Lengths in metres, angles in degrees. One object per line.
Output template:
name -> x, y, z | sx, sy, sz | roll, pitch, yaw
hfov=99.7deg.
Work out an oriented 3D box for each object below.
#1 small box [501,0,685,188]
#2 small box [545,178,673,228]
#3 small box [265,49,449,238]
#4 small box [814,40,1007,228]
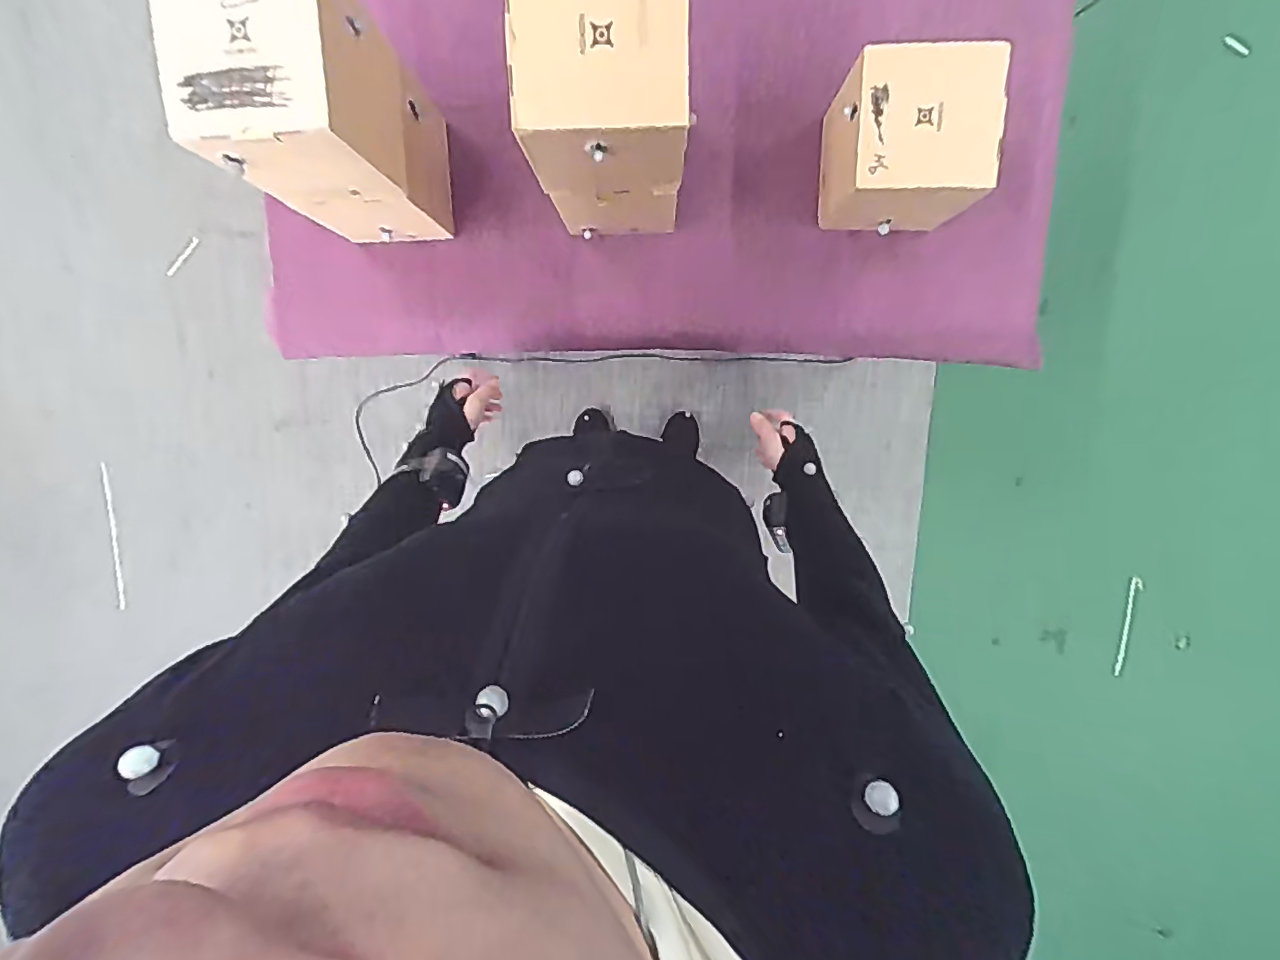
small box -> -0.041, -0.436, 0.591 | 0.179, 0.176, 0.168 | 0, 99, 1
small box -> -0.036, -0.463, 0.752 | 0.168, 0.176, 0.179 | 0, 98, 2
small box -> -0.383, -0.459, 0.762 | 0.168, 0.176, 0.179 | -1, 98, 2
small box -> 0.354, -0.457, 0.739 | 0.179, 0.176, 0.168 | 1, 98, 2
